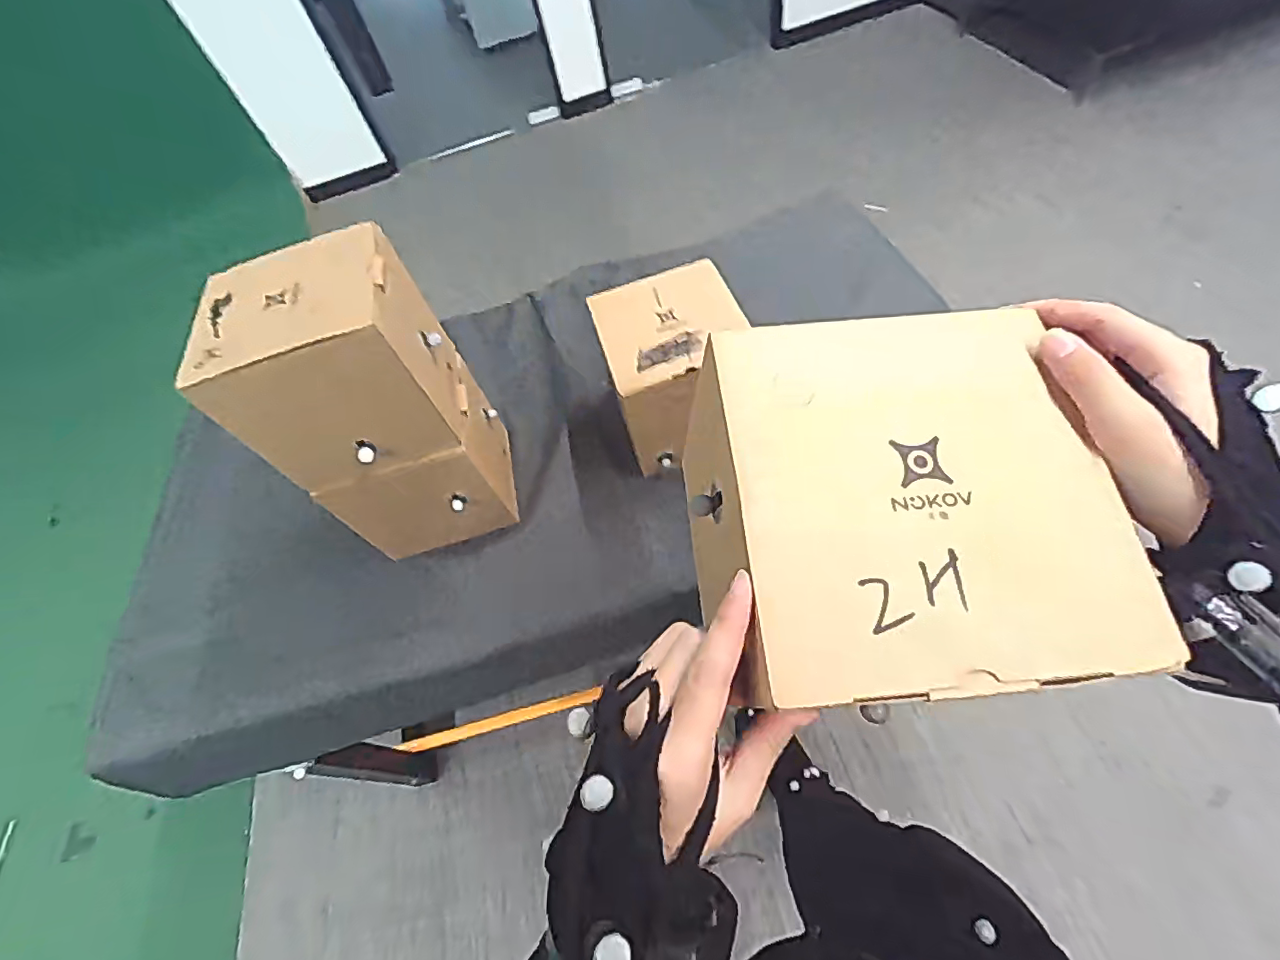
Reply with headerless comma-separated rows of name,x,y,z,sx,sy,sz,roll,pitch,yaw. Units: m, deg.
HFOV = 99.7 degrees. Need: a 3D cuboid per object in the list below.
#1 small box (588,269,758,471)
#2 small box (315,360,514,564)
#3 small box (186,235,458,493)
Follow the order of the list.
small box,0.046,-0.132,0.699,0.168,0.176,0.179,-18,54,-1
small box,-0.271,-0.017,0.690,0.179,0.176,0.168,-18,54,0
small box,-0.302,-0.113,0.560,0.179,0.176,0.168,-18,55,-1
